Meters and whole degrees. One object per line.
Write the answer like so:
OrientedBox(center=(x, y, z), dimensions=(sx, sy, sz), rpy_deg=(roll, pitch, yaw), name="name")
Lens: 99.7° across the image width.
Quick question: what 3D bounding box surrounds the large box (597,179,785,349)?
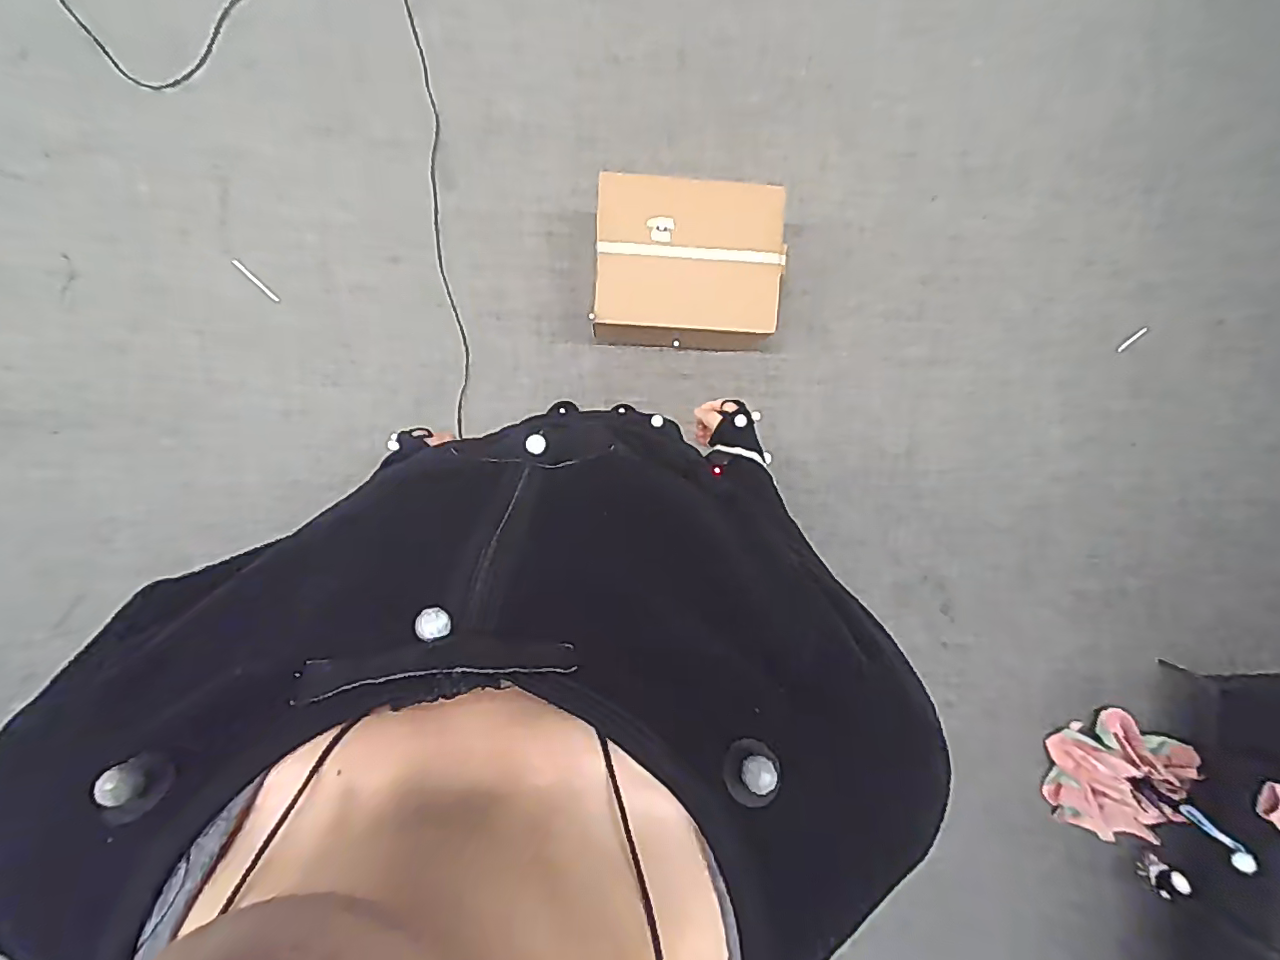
OrientedBox(center=(0.107, -0.499, 1.318), dimensions=(0.408, 0.320, 0.320), rpy_deg=(3, 96, -3), name="large box")
